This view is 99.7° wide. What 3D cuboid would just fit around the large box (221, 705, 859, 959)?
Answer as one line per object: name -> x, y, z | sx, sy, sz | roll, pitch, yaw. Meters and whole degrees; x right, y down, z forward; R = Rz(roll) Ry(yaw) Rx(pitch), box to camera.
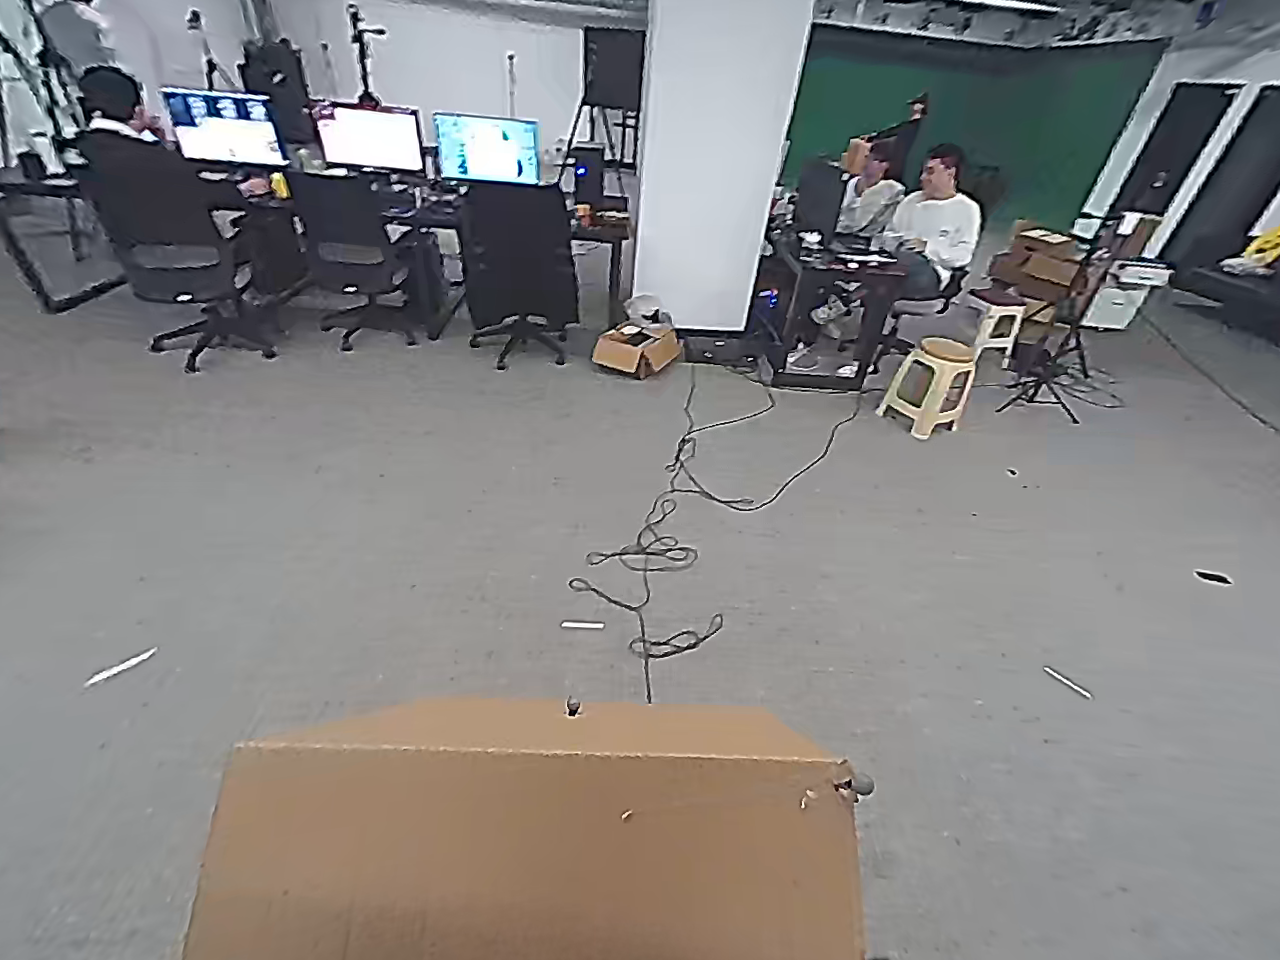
large box -> -0.062, 0.372, 0.464 | 0.408, 0.320, 0.320 | 0, 74, 2
